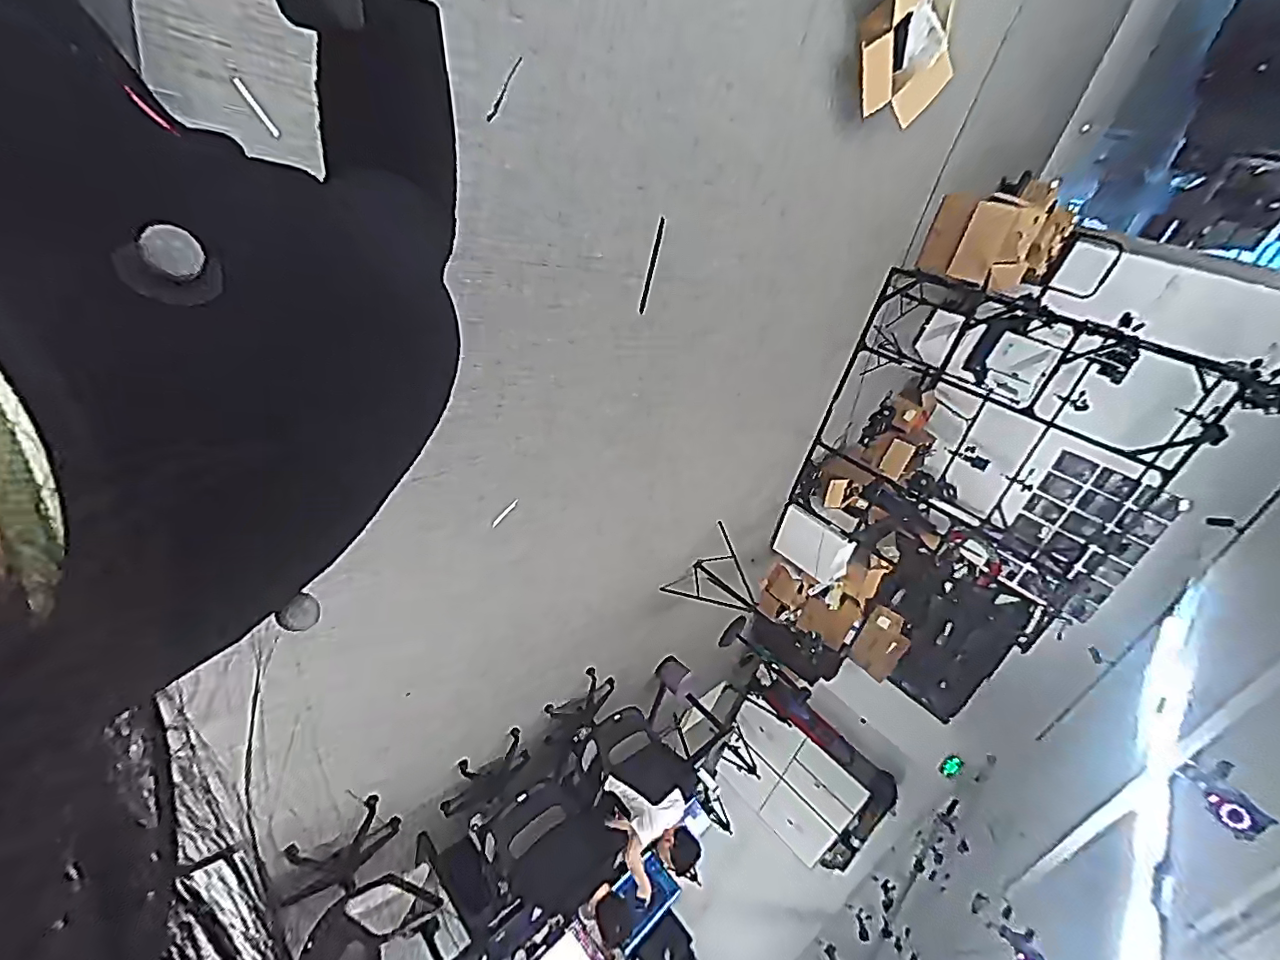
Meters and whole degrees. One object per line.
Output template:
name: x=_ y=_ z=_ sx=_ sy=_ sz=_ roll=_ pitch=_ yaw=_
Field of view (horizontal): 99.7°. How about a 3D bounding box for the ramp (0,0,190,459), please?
ramp: x=-1.194 y=-0.436 z=1.002 sx=0.509 sy=0.206 sz=0.991 roll=-18 pitch=133 yaw=-43
